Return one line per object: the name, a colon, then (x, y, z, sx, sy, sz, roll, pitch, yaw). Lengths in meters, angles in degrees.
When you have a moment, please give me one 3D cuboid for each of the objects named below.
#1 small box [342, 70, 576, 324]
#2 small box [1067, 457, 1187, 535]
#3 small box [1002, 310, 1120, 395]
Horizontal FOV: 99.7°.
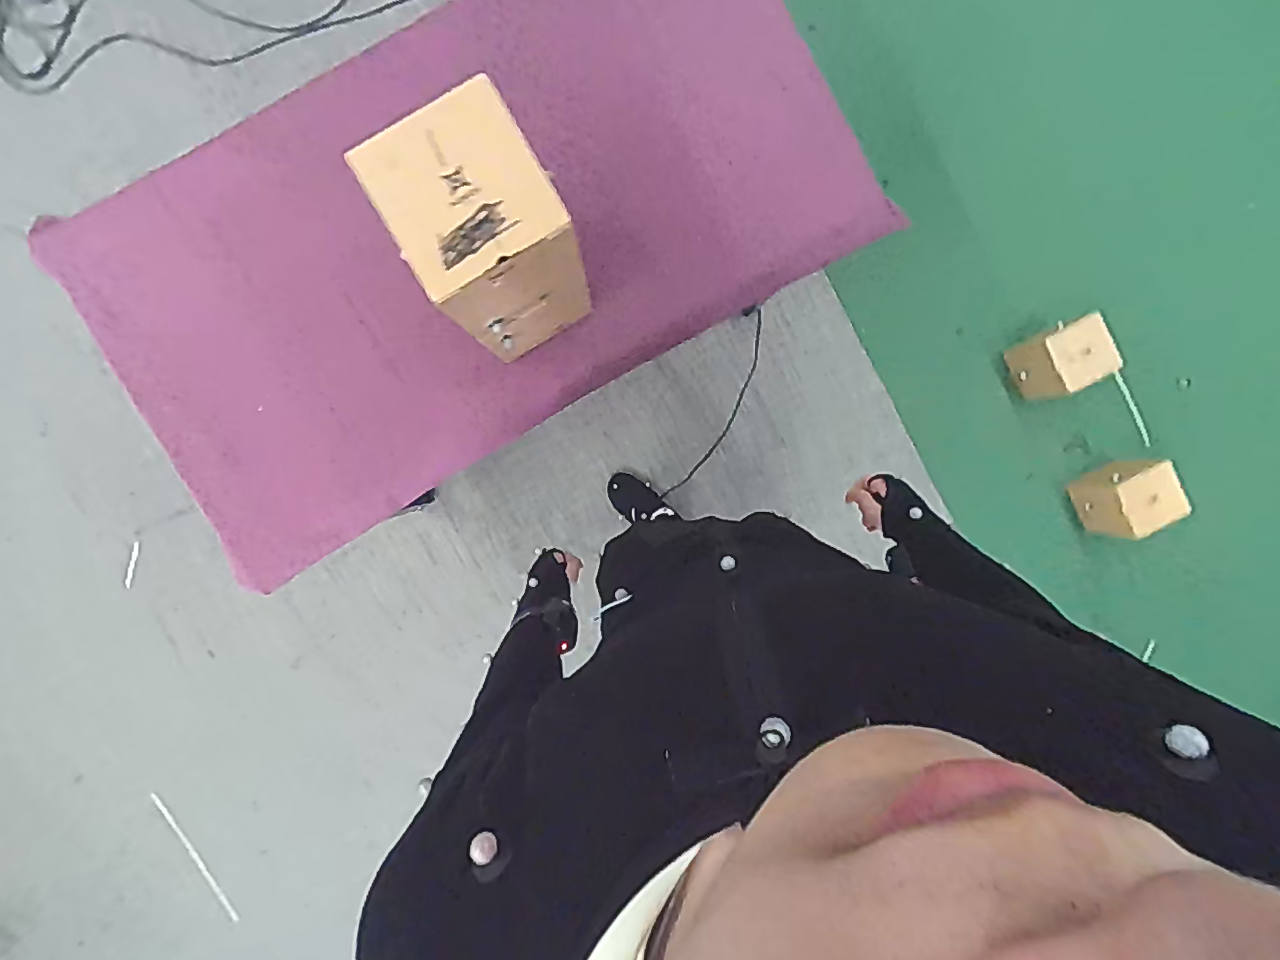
small box: (-0.188, -0.299, 0.622, 0.168, 0.176, 0.179, -31, 92, 0)
small box: (1.423, 0.039, 1.590, 0.179, 0.176, 0.168, -27, 94, 0)
small box: (1.205, -0.362, 1.560, 0.179, 0.176, 0.168, -28, 93, -1)
